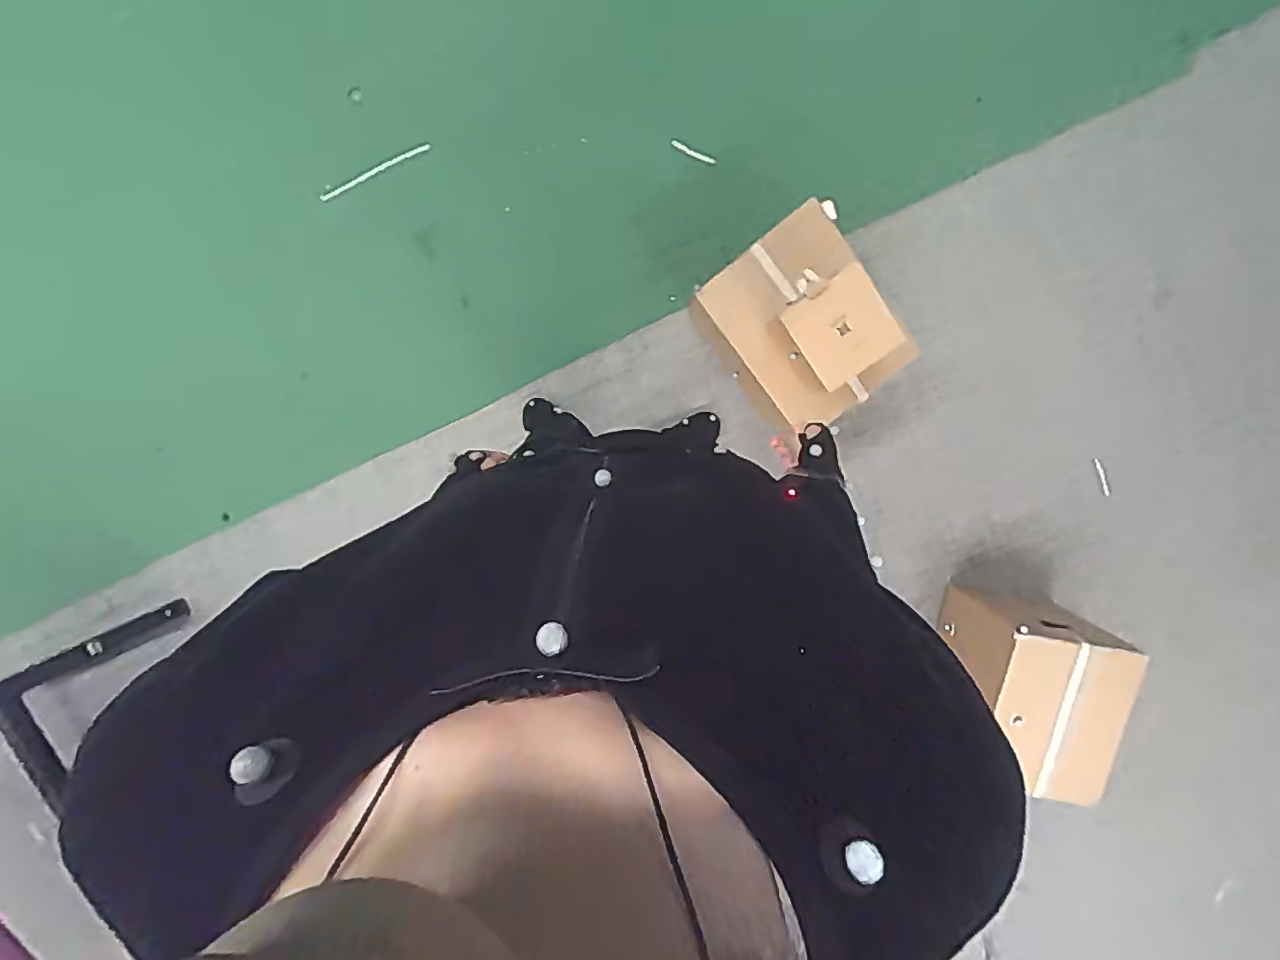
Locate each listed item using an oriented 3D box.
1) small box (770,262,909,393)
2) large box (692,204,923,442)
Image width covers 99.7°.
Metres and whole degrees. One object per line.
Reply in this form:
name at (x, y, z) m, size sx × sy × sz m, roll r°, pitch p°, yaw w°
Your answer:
small box at (0.374, -0.284, 1.049) m, size 0.168 × 0.176 × 0.179 m, roll -34°, pitch 97°, yaw 9°
large box at (0.367, -0.346, 1.289) m, size 0.320 × 0.320 × 0.408 m, roll -38°, pitch 95°, yaw 7°
